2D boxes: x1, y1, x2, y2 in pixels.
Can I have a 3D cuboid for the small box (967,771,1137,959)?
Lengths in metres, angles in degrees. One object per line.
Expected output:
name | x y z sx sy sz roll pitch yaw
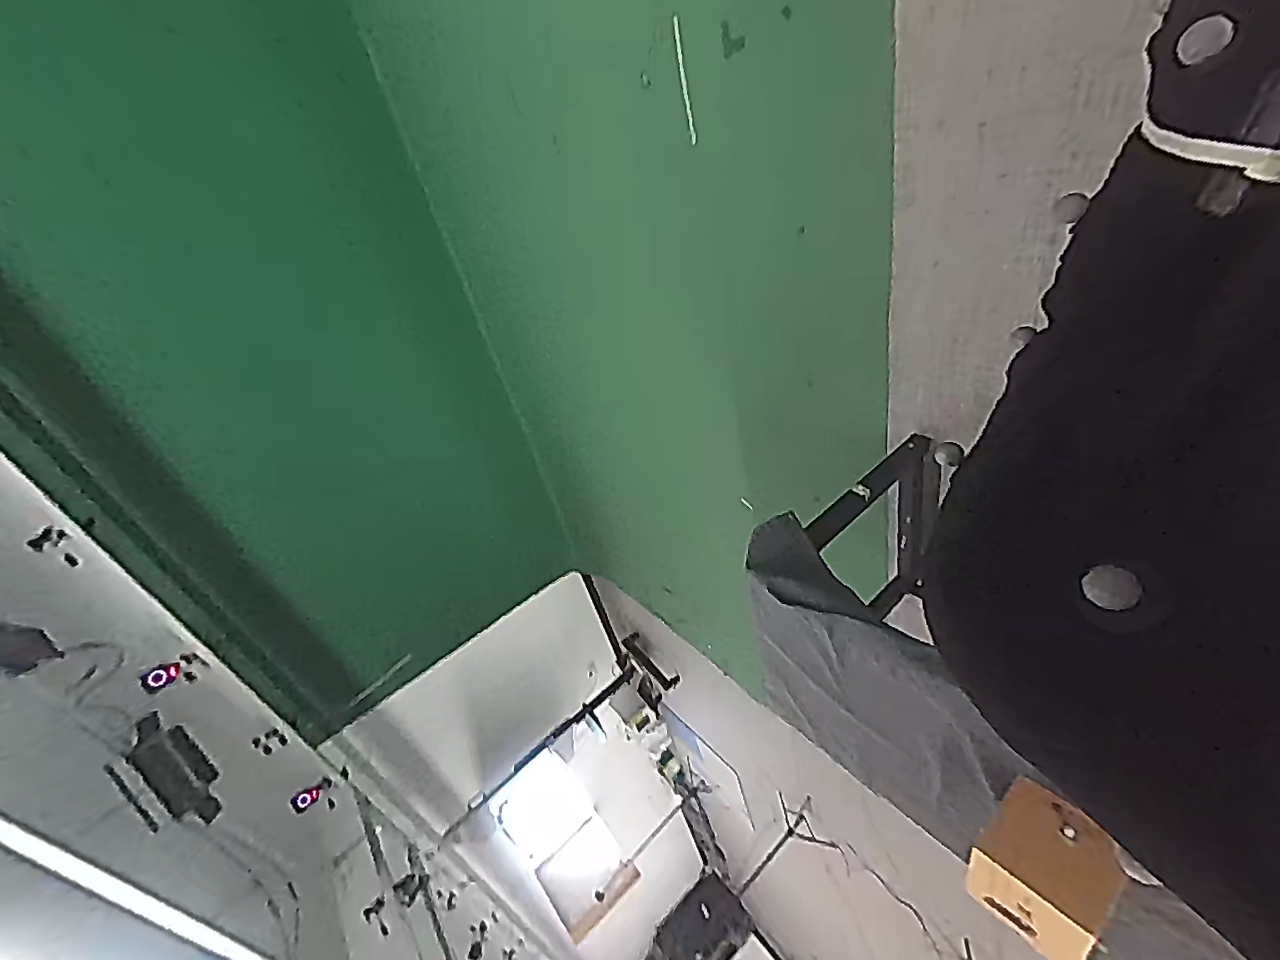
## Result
small box | 0.670 0.632 0.889 0.168 0.176 0.179 27 141 47
